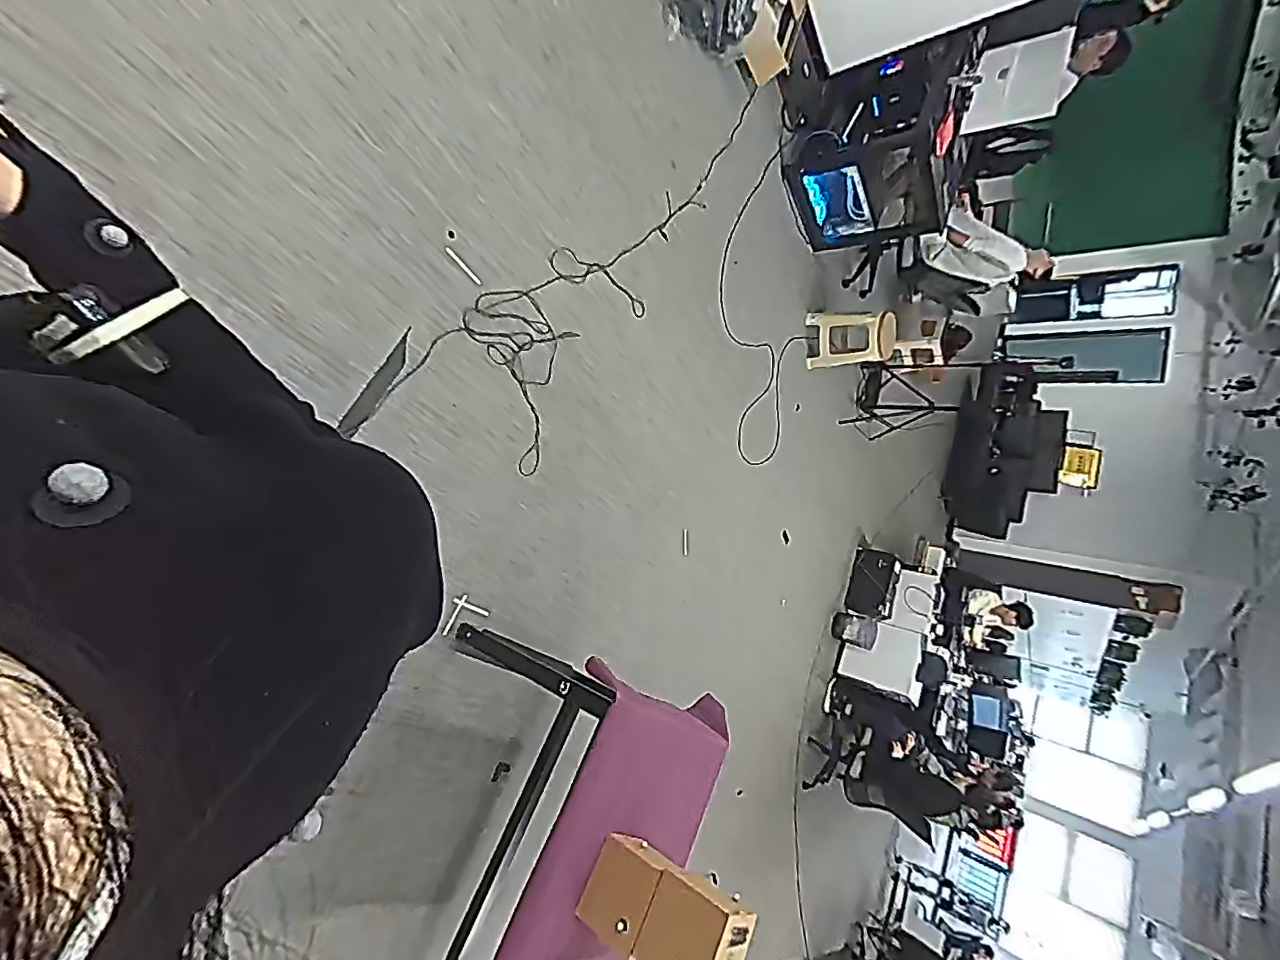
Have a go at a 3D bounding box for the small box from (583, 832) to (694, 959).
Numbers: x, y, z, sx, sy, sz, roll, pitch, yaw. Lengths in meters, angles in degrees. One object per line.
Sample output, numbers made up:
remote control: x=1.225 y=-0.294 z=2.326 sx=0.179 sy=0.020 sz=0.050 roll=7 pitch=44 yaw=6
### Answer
small box: x=-0.008 y=0.967 z=1.262 sx=0.168 sy=0.176 sz=0.179 roll=49 pitch=60 yaw=-43
